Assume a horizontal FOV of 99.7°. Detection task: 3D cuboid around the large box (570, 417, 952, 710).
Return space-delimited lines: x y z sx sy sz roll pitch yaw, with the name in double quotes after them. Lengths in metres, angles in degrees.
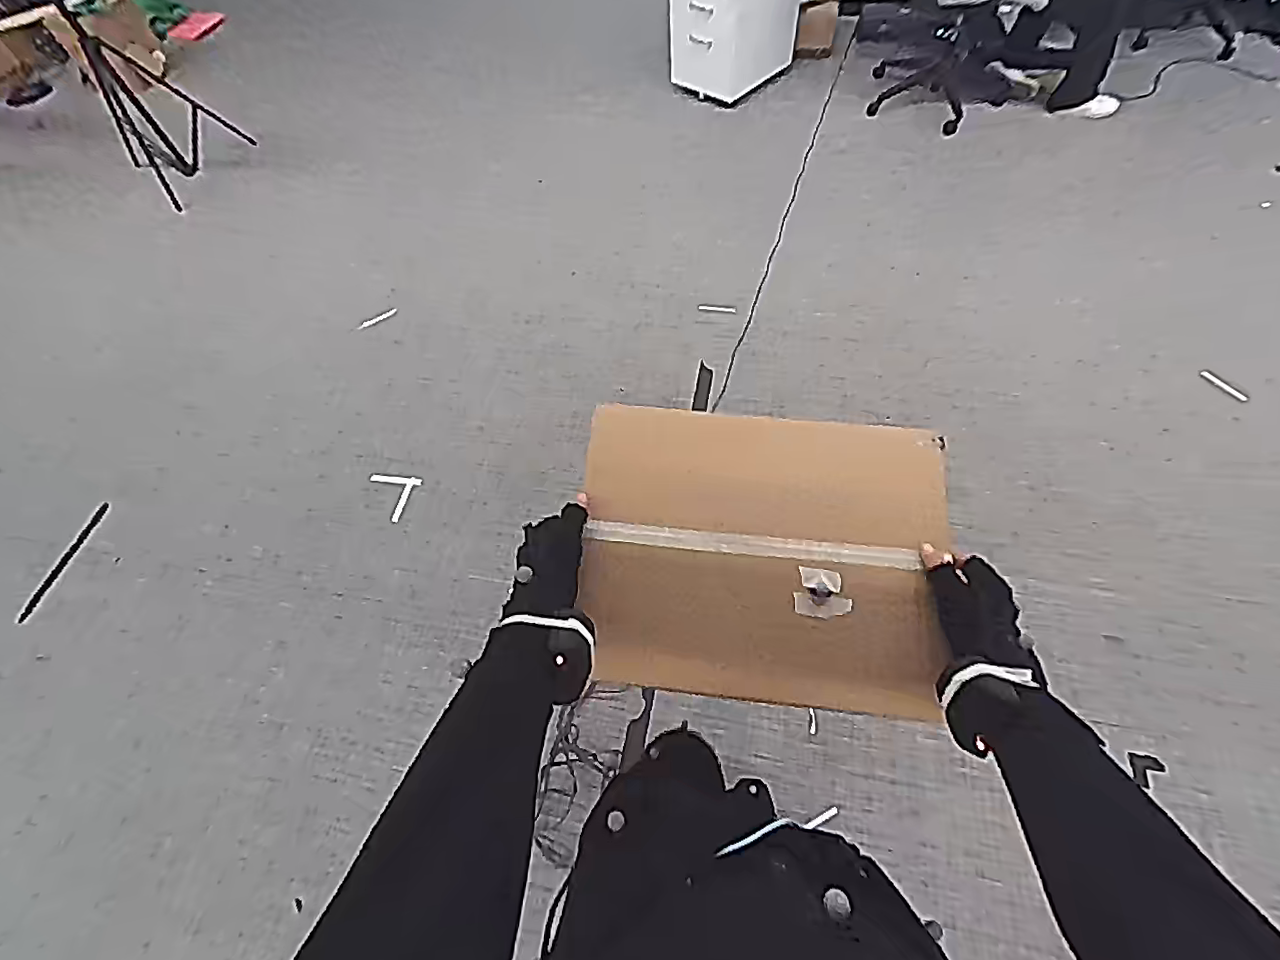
0.139 0.128 0.750 0.408 0.320 0.320 5 71 4 "large box"
